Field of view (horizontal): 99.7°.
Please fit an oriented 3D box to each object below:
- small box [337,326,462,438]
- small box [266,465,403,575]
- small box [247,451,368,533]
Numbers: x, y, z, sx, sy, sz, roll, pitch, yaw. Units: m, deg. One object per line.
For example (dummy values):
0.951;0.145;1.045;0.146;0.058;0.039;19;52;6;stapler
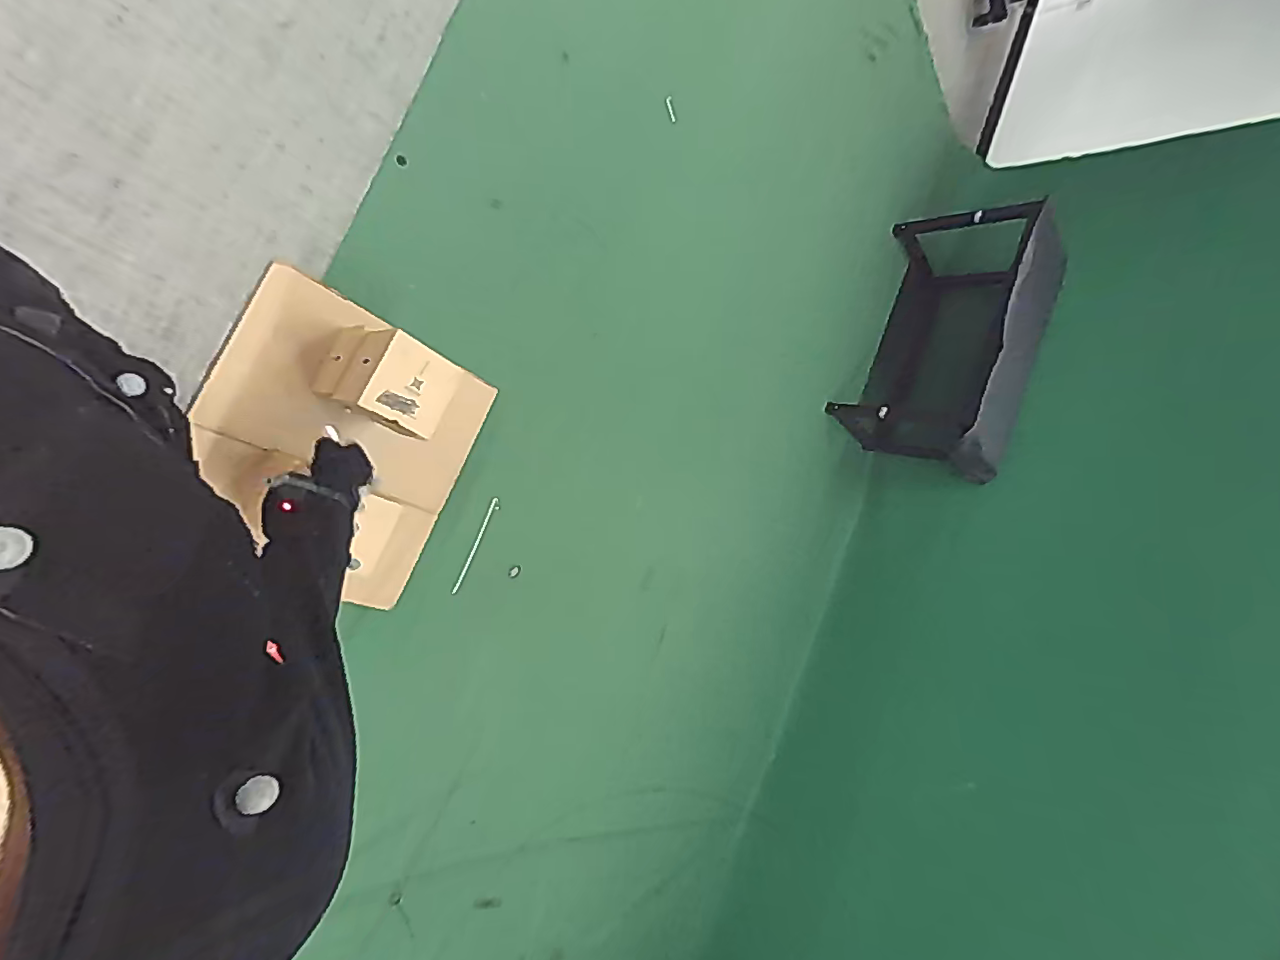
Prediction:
-0.526;-0.210;1.172;0.168;0.176;0.179;34;74;-44;small box
-0.643;0.079;1.137;0.179;0.176;0.168;31;78;-44;small box
-0.764;0.043;1.245;0.179;0.176;0.168;28;81;-44;small box
